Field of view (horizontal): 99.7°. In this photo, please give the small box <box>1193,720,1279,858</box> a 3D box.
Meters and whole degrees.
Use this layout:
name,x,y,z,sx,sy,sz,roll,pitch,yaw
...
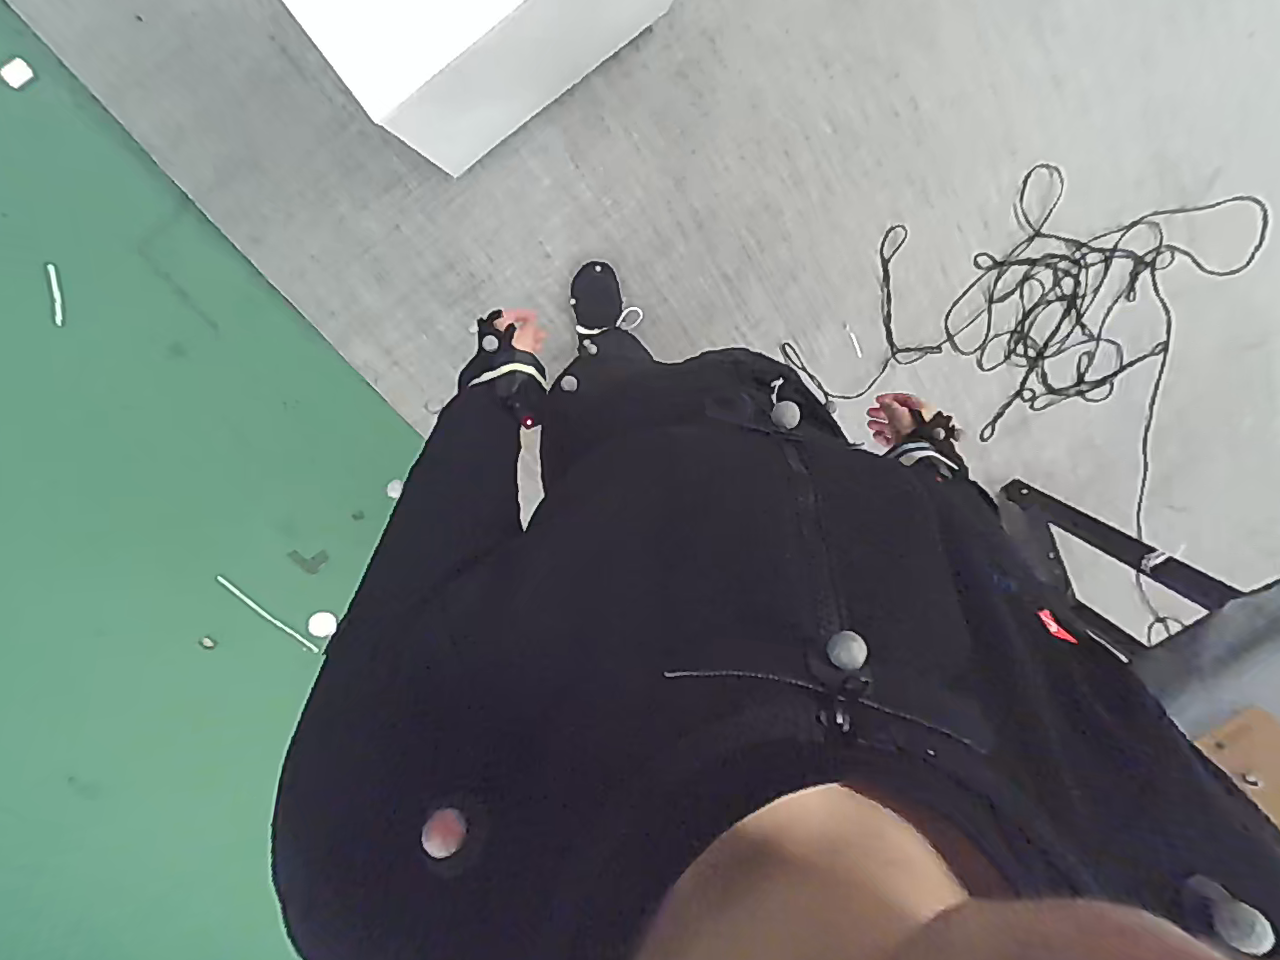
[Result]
name,x,y,z,sx,sy,sz,roll,pitch,yaw
small box,1.163,0.567,0.972,0.168,0.176,0.179,-40,115,10
